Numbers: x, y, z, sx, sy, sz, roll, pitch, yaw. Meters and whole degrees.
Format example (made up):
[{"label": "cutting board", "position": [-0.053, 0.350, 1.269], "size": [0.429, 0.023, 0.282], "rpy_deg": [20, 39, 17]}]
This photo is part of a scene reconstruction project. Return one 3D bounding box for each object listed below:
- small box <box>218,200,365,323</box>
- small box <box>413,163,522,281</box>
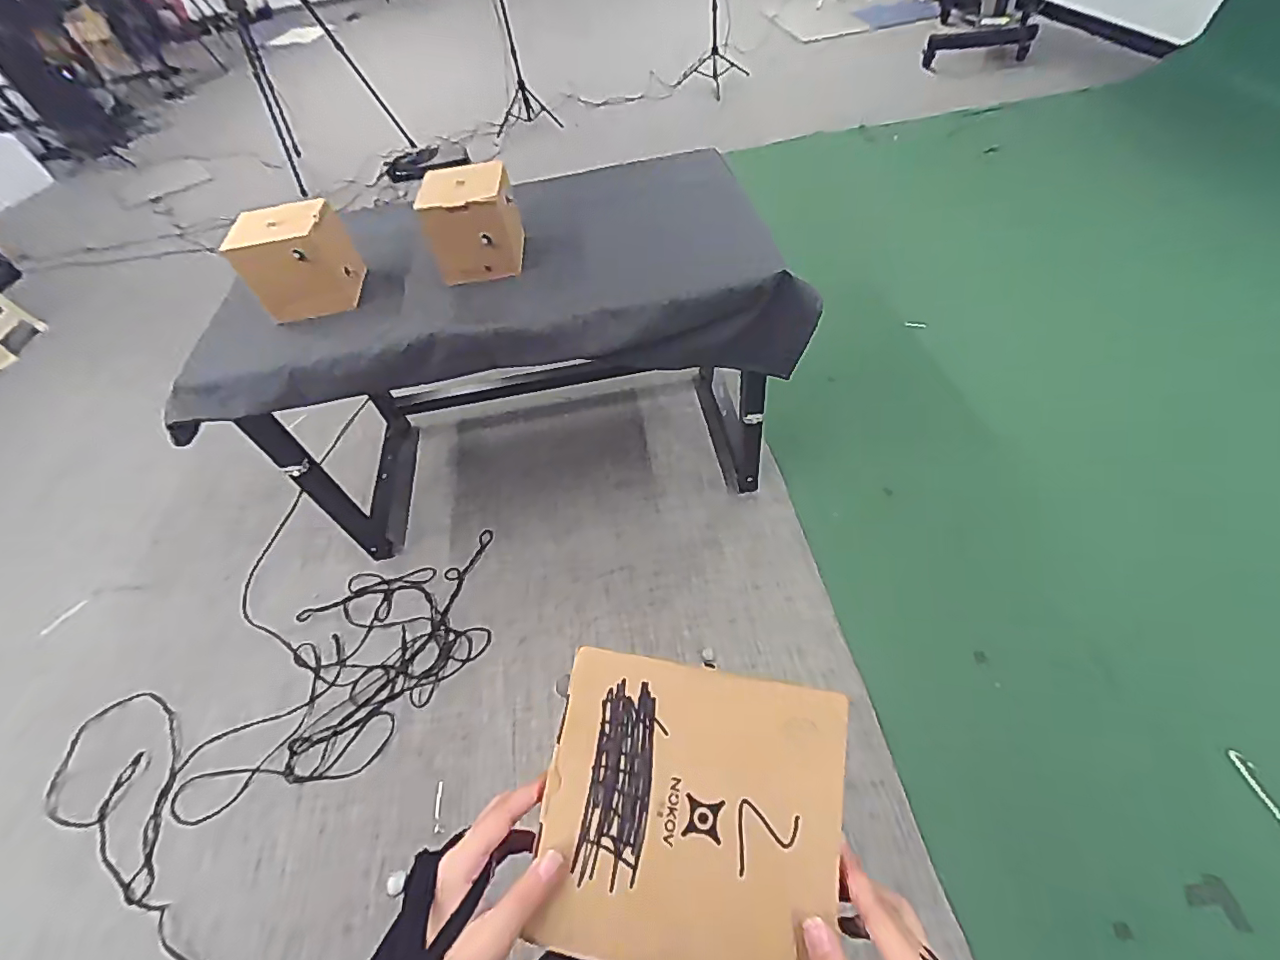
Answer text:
[{"label": "small box", "position": [-0.710, -0.449, 1.124], "size": [0.179, 0.176, 0.168], "rpy_deg": [-12, 51, -2]}, {"label": "small box", "position": [-0.353, -0.536, 1.143], "size": [0.168, 0.176, 0.179], "rpy_deg": [-7, 50, 1]}]
